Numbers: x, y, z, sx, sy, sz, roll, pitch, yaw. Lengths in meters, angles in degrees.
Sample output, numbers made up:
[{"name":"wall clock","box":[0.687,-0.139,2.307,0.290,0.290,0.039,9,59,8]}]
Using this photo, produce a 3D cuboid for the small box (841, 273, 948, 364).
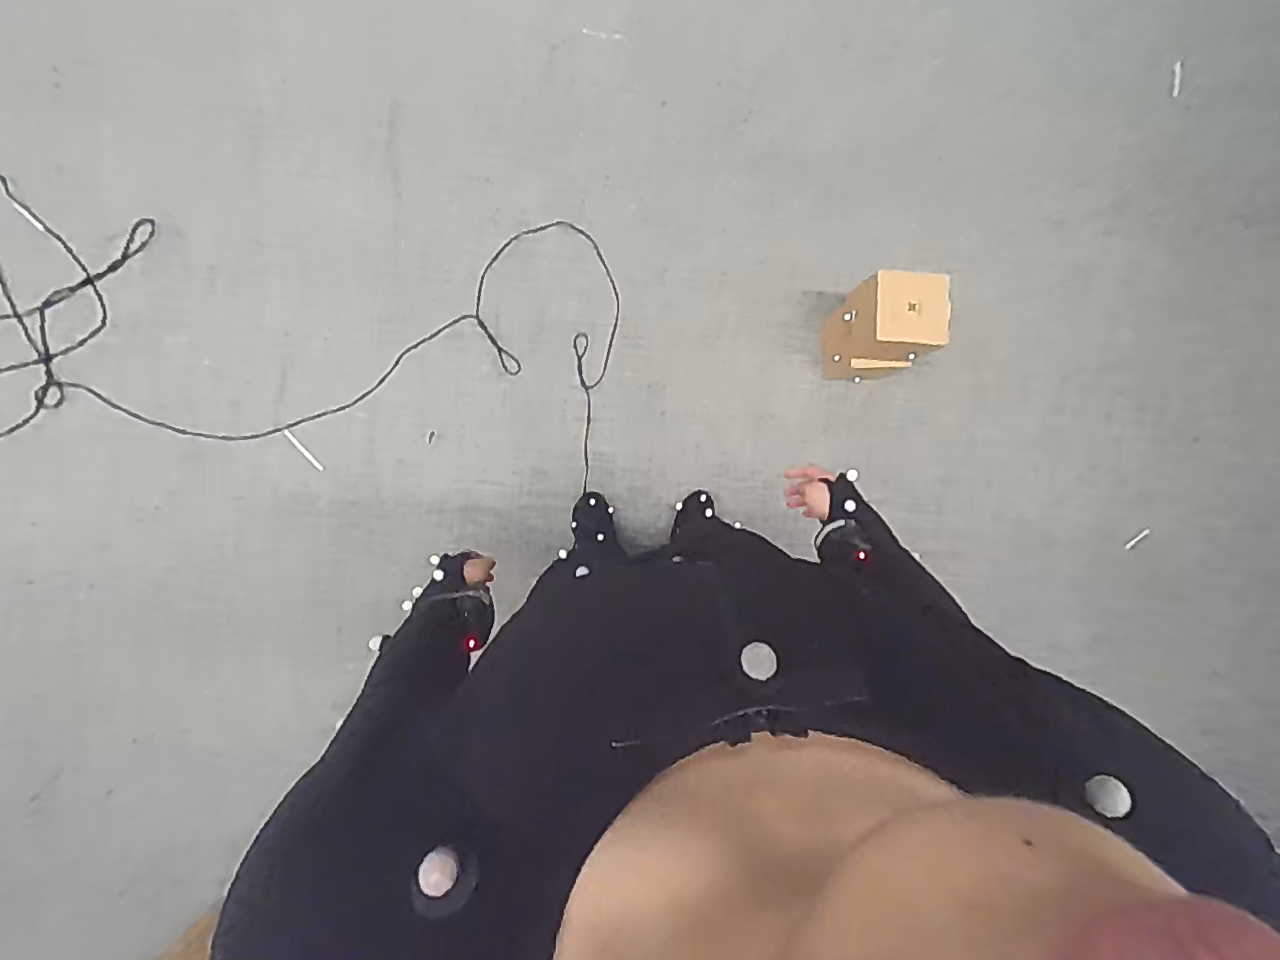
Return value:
[{"name":"small box","box":[0.613,-0.384,1.313,0.179,0.176,0.168,2,88,-4]}]
